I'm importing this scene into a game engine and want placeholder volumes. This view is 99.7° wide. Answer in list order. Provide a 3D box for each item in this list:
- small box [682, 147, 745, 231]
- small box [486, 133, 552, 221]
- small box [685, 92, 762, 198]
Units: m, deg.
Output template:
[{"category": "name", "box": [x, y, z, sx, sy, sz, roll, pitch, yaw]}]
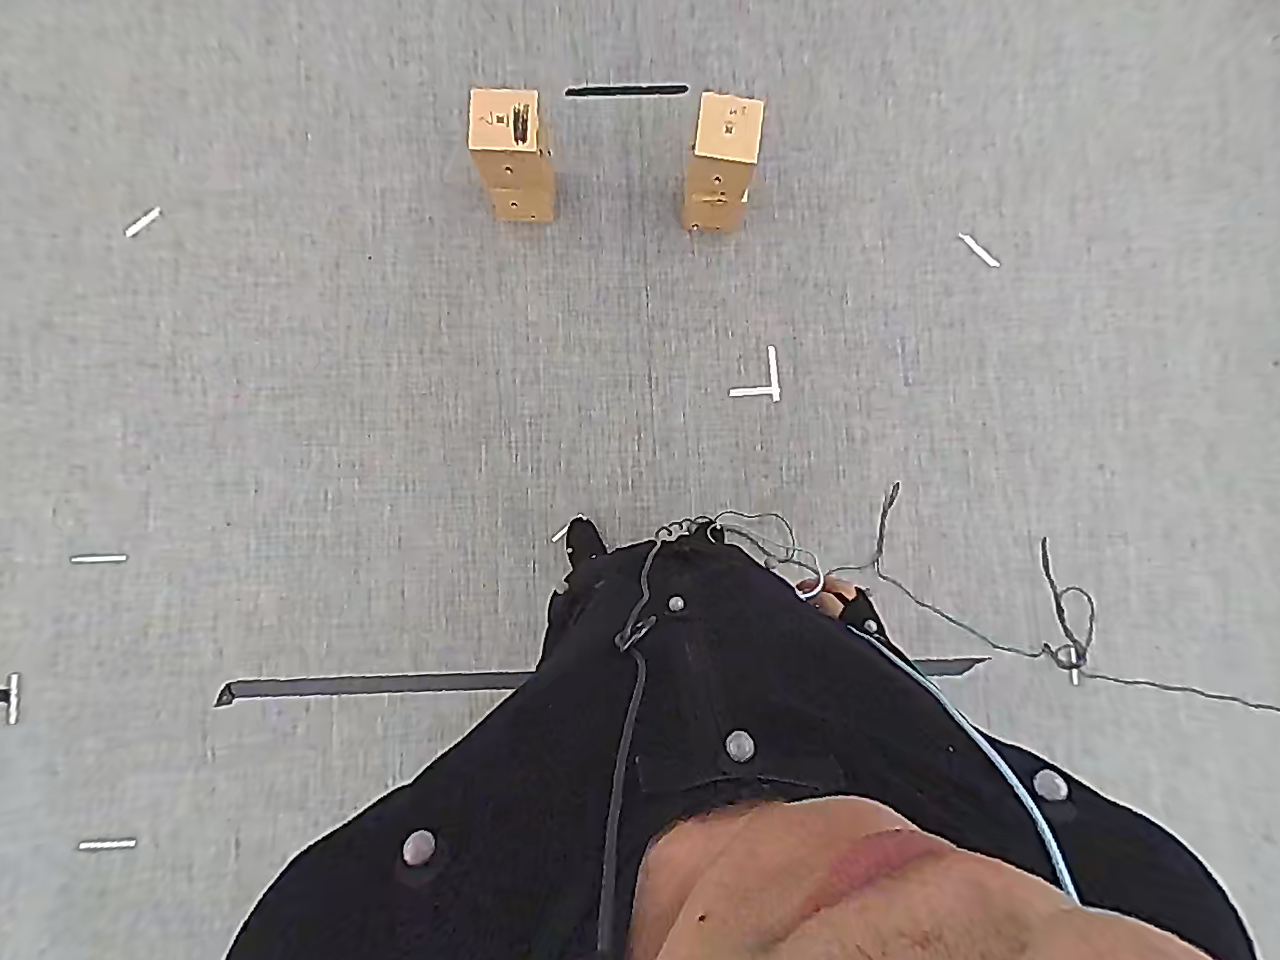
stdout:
[{"category": "small box", "box": [0.219, -0.877, 1.630, 0.168, 0.176, 0.179, 2, 86, -3]}, {"category": "small box", "box": [-0.354, -0.895, 1.610, 0.168, 0.176, 0.179, 0, 86, -2]}, {"category": "small box", "box": [0.220, -0.899, 1.467, 0.168, 0.176, 0.179, 7, 86, -3]}]
